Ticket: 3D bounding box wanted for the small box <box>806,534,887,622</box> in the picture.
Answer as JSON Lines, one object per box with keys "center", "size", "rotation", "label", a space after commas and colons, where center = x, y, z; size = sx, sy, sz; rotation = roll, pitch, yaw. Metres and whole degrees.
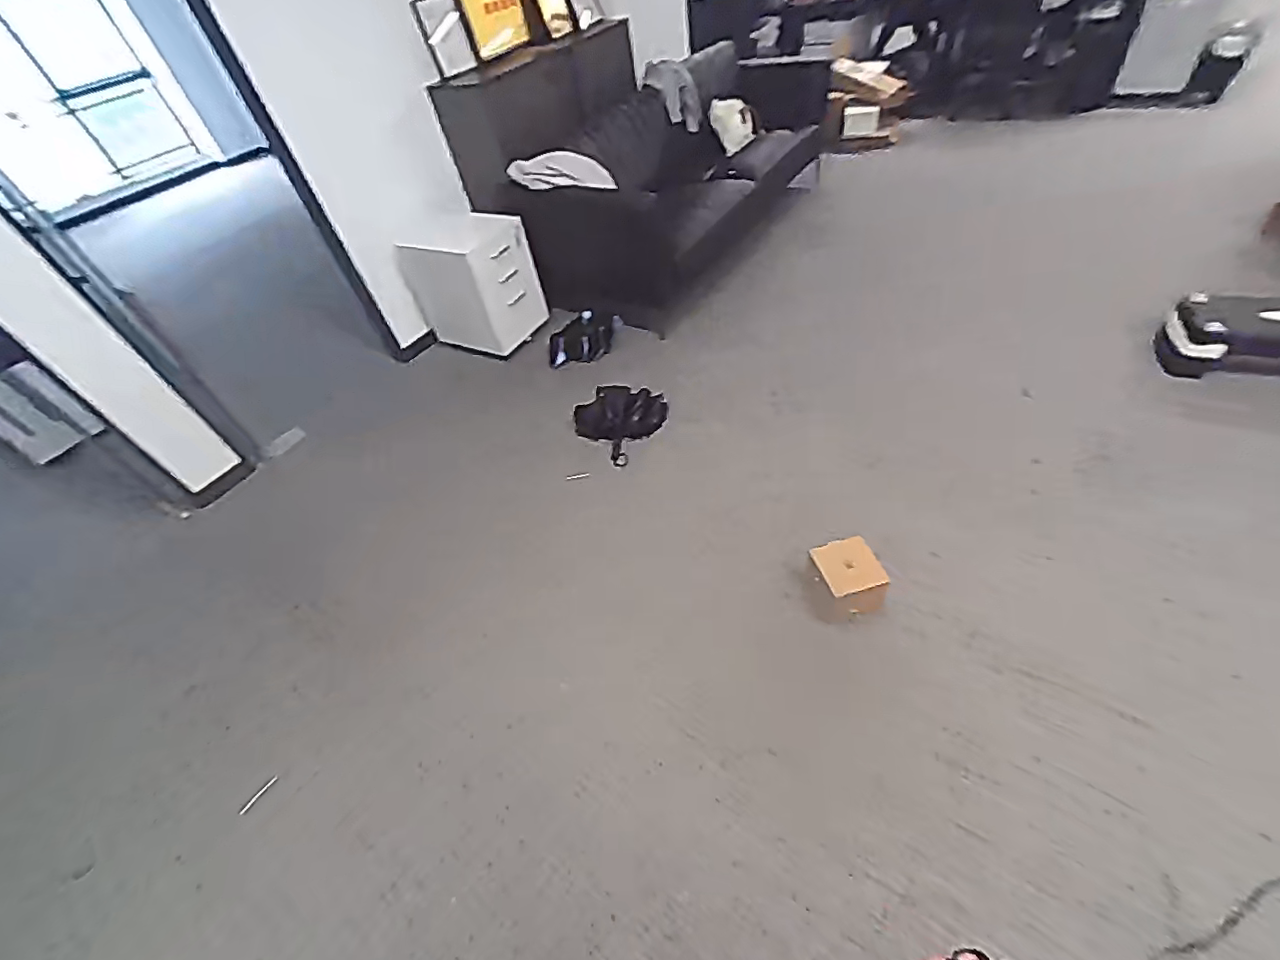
{"center": [0.617, 0.299, 1.640], "size": [0.168, 0.176, 0.179], "rotation": [-17, 47, -2], "label": "small box"}
